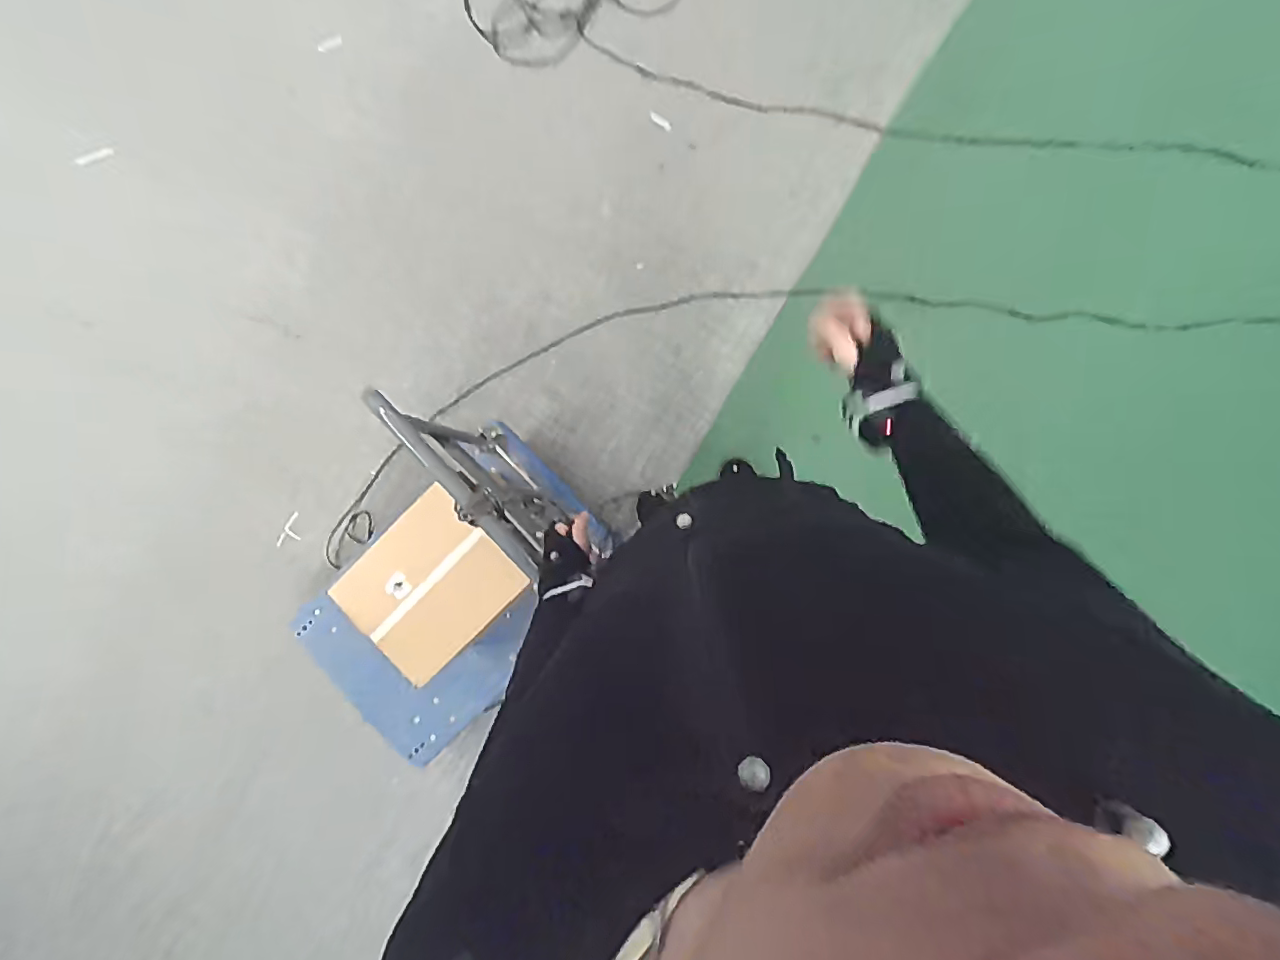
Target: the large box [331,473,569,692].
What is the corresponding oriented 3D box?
[{"bbox_3d":[-0.444,0.226,1.349,0.408,0.320,0.320,-44,86,4],"label":"large box"}]
